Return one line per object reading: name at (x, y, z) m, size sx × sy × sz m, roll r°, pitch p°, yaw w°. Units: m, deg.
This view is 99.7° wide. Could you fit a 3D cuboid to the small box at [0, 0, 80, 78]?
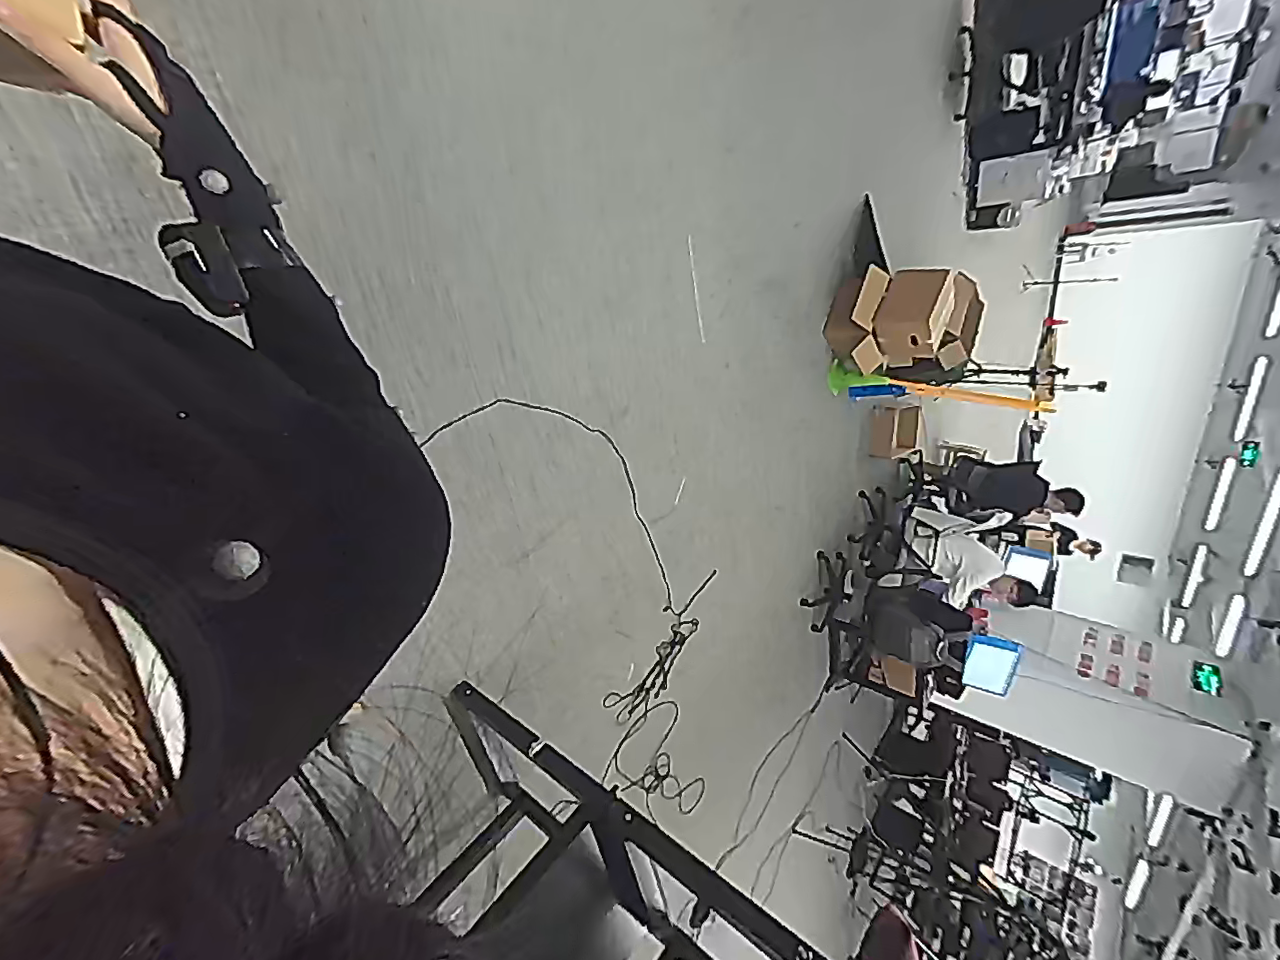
small box at (-0.447, -0.362, 0.300) m, size 0.168 × 0.176 × 0.179 m, roll -14°, pitch 115°, yaw -46°
